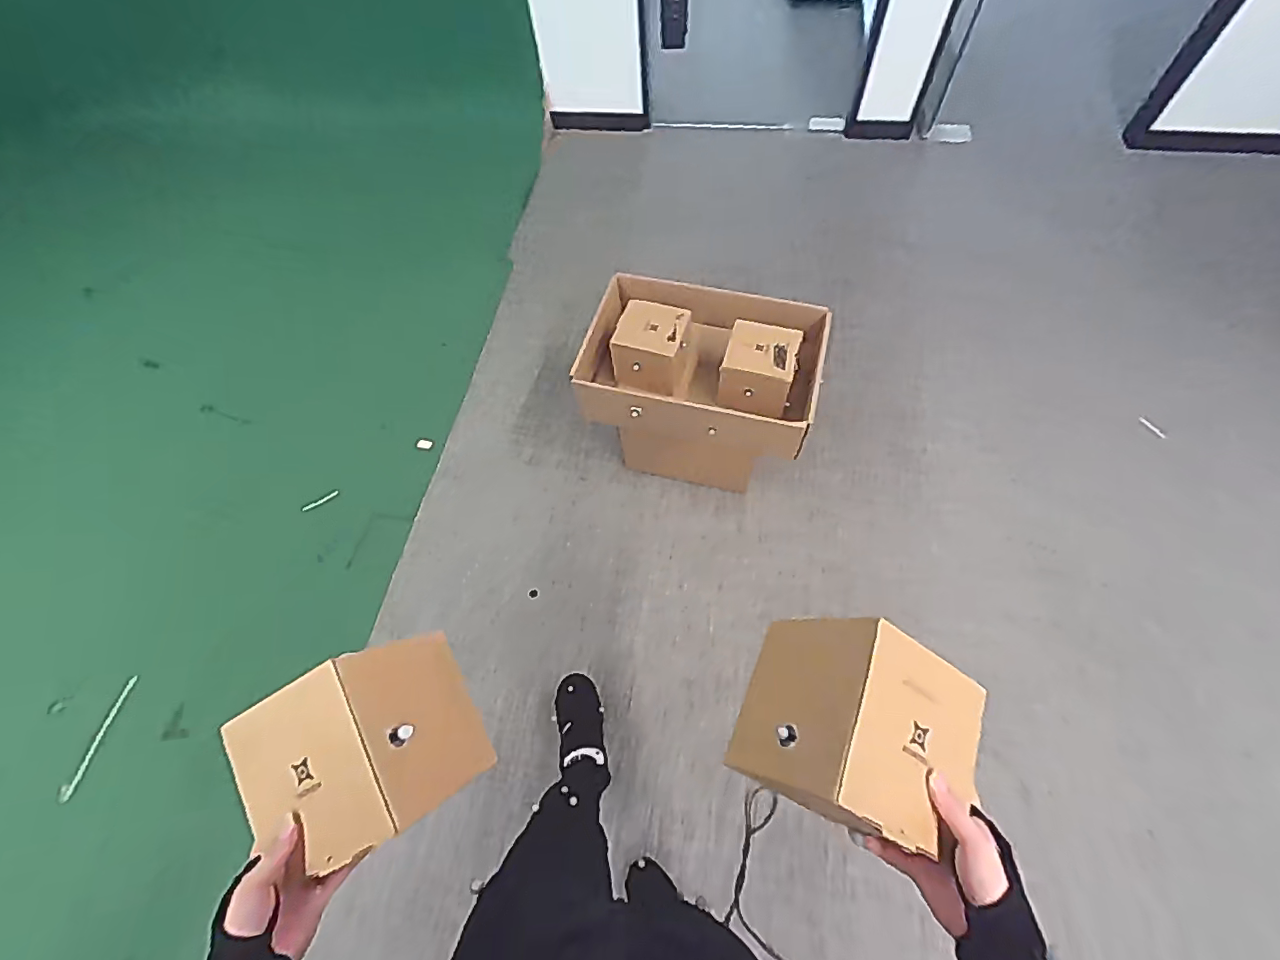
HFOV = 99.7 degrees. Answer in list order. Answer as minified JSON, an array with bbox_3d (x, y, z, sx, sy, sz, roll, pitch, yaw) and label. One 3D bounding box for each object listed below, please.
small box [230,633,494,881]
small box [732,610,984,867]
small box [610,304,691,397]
[{"bbox_3d":[-0.300,0.287,0.608,0.168,0.176,0.179,-32,77,13],"label":"small box"},{"bbox_3d":[0.224,0.260,0.579,0.168,0.176,0.179,35,63,-14],"label":"small box"},{"bbox_3d":[0.034,-0.349,1.479,0.179,0.176,0.168,15,64,13],"label":"small box"}]
